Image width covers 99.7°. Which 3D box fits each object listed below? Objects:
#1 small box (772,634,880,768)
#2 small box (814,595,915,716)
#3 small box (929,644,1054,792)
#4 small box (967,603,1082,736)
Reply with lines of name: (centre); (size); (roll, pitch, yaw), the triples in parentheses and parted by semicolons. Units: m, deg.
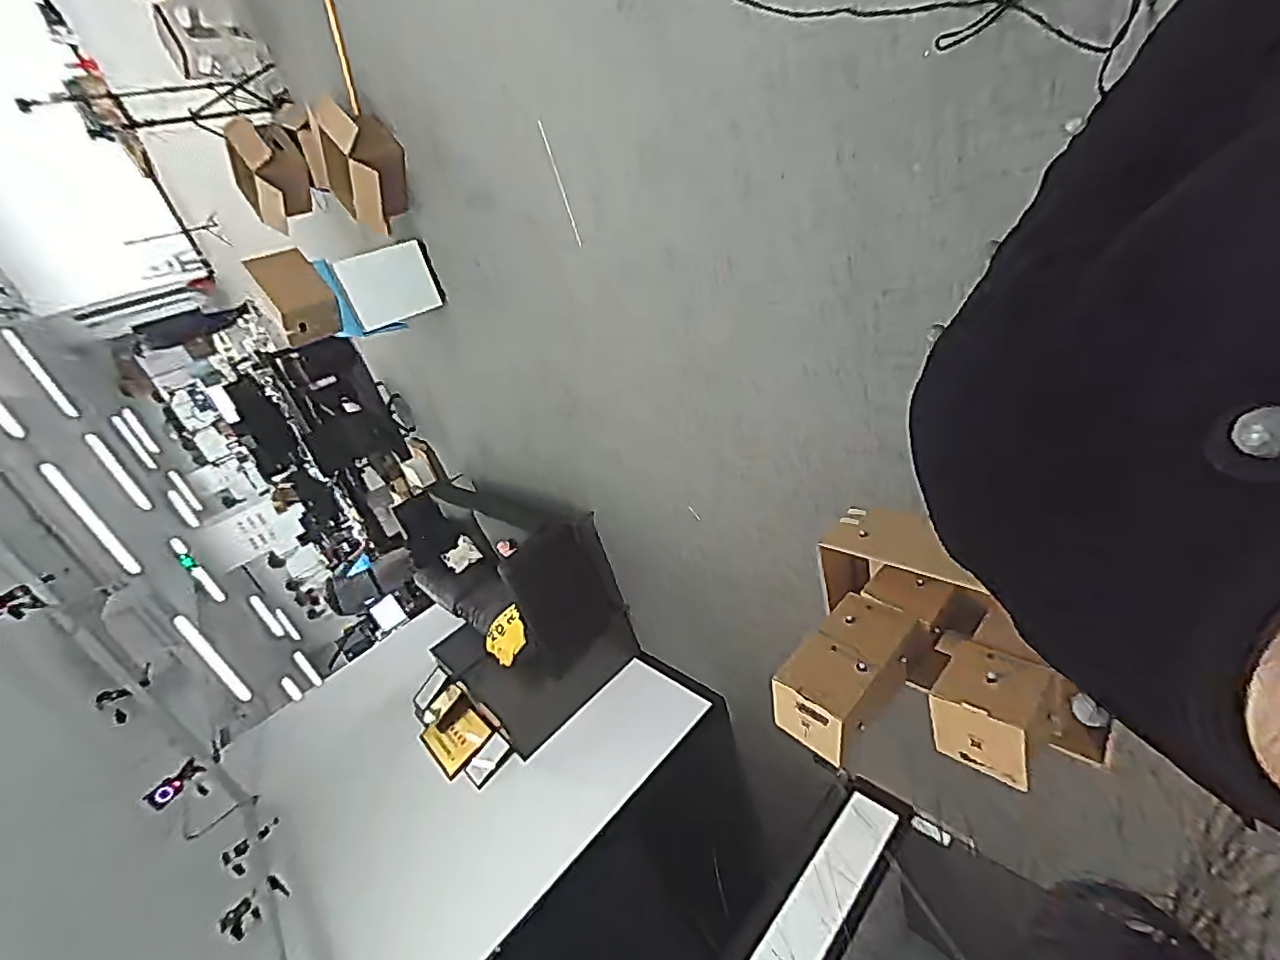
small box: (0.409, 0.478, 1.194); (0.168, 0.176, 0.179); (24, 137, 42)
small box: (0.529, 0.404, 1.276); (0.168, 0.176, 0.179); (21, 135, 44)
small box: (0.706, 0.465, 1.085); (0.168, 0.176, 0.179); (12, 127, 50)
small box: (0.832, 0.400, 1.170); (0.168, 0.176, 0.179); (10, 127, 49)
